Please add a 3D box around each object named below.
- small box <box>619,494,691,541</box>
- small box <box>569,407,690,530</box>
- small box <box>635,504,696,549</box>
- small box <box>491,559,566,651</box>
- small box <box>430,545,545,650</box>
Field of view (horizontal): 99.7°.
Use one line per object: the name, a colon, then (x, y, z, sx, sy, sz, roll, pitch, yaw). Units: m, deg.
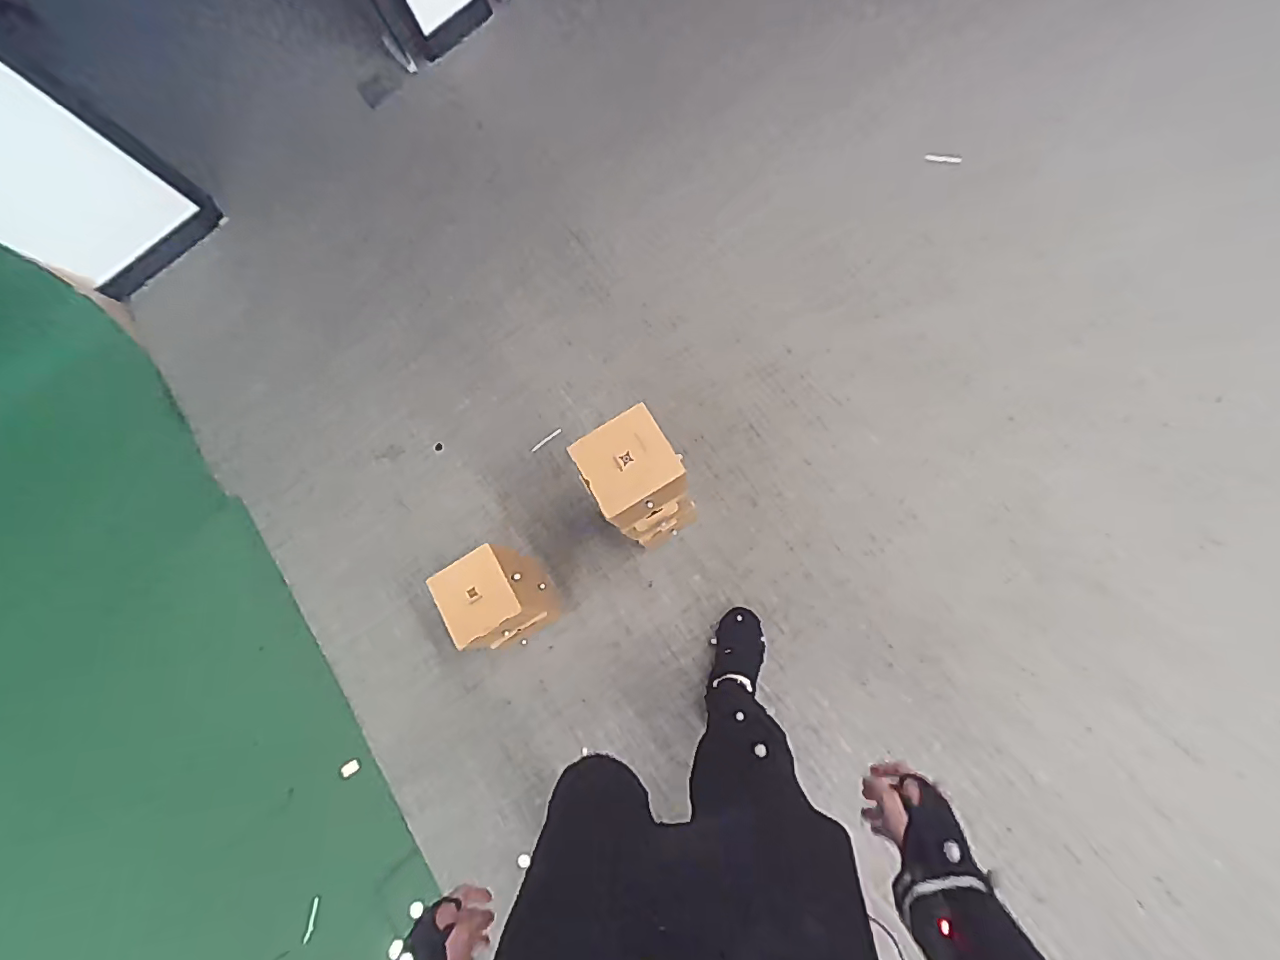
small box: (0.006, 0.024, 1.252, 0.168, 0.176, 0.179, -31, 75, 2)
small box: (-0.013, -0.013, 1.094, 0.179, 0.176, 0.168, -31, 76, 1)
small box: (0.036, 0.066, 1.409, 0.168, 0.176, 0.179, -34, 76, 0)
small box: (-0.318, 0.325, 1.424, 0.168, 0.176, 0.179, -32, 75, 0)
small box: (-0.347, 0.273, 1.255, 0.168, 0.176, 0.179, -32, 76, 1)
